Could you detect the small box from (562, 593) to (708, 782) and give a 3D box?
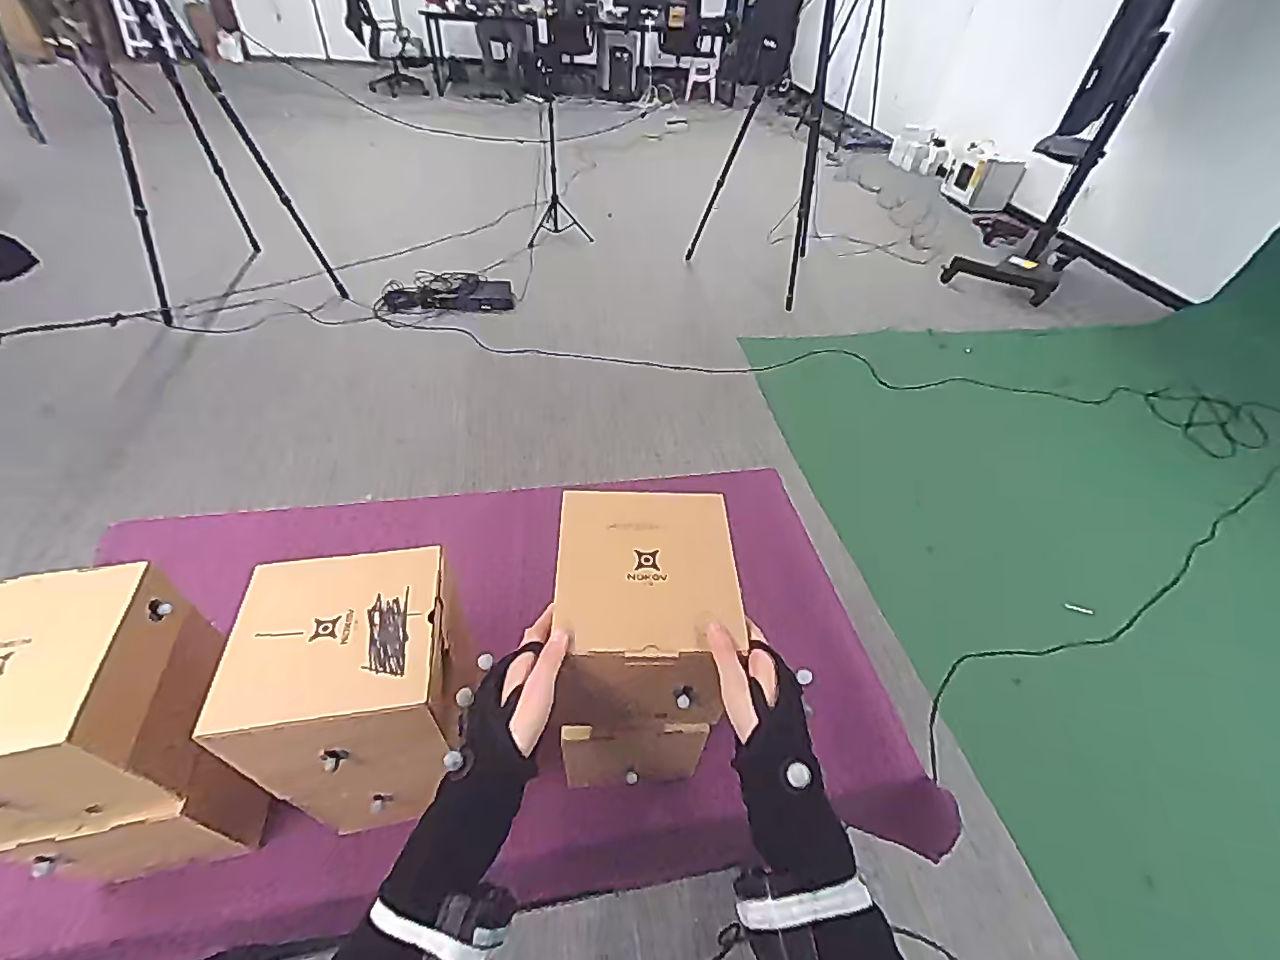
[{"bbox_3d":[-0.015,0.270,0.708,0.168,0.176,0.179,-2,46,-5],"label":"small box"}]

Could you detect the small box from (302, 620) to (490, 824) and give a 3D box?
[{"bbox_3d":[-0.288,0.297,0.663,0.179,0.176,0.168,-6,47,-10],"label":"small box"}]

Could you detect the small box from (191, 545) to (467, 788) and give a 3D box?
[{"bbox_3d":[-0.278,0.186,0.541,0.179,0.176,0.168,-5,45,-8],"label":"small box"}]

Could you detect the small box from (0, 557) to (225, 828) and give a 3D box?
[{"bbox_3d":[-0.535,0.203,0.509,0.168,0.176,0.179,-8,45,-12],"label":"small box"}]
